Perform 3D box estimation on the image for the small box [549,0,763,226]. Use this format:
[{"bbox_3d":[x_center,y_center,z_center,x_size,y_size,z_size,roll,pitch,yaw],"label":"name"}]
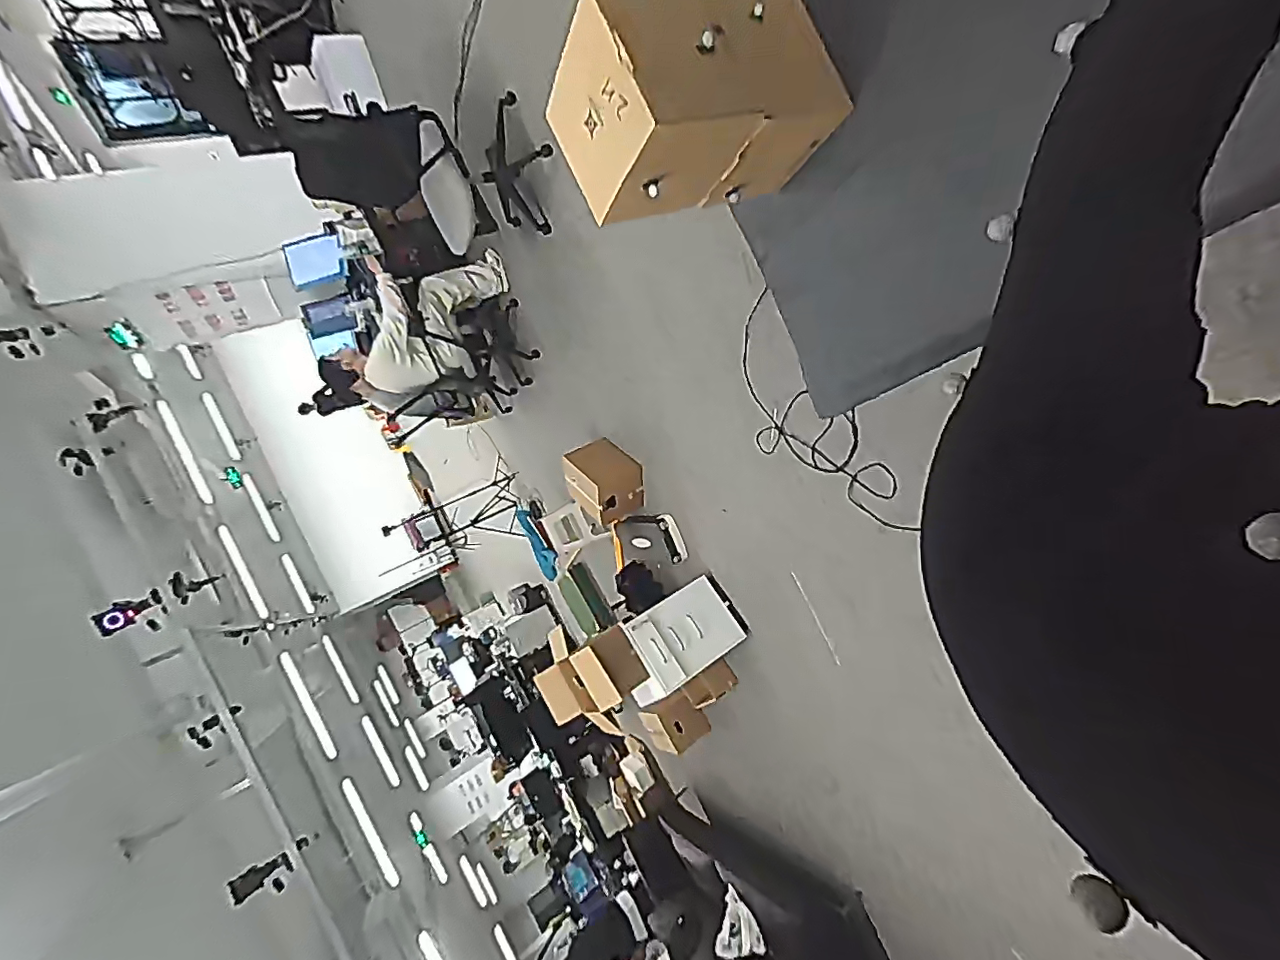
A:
[{"bbox_3d":[0.015,-0.449,0.664,0.168,0.176,0.179,63,153,-1],"label":"small box"}]
